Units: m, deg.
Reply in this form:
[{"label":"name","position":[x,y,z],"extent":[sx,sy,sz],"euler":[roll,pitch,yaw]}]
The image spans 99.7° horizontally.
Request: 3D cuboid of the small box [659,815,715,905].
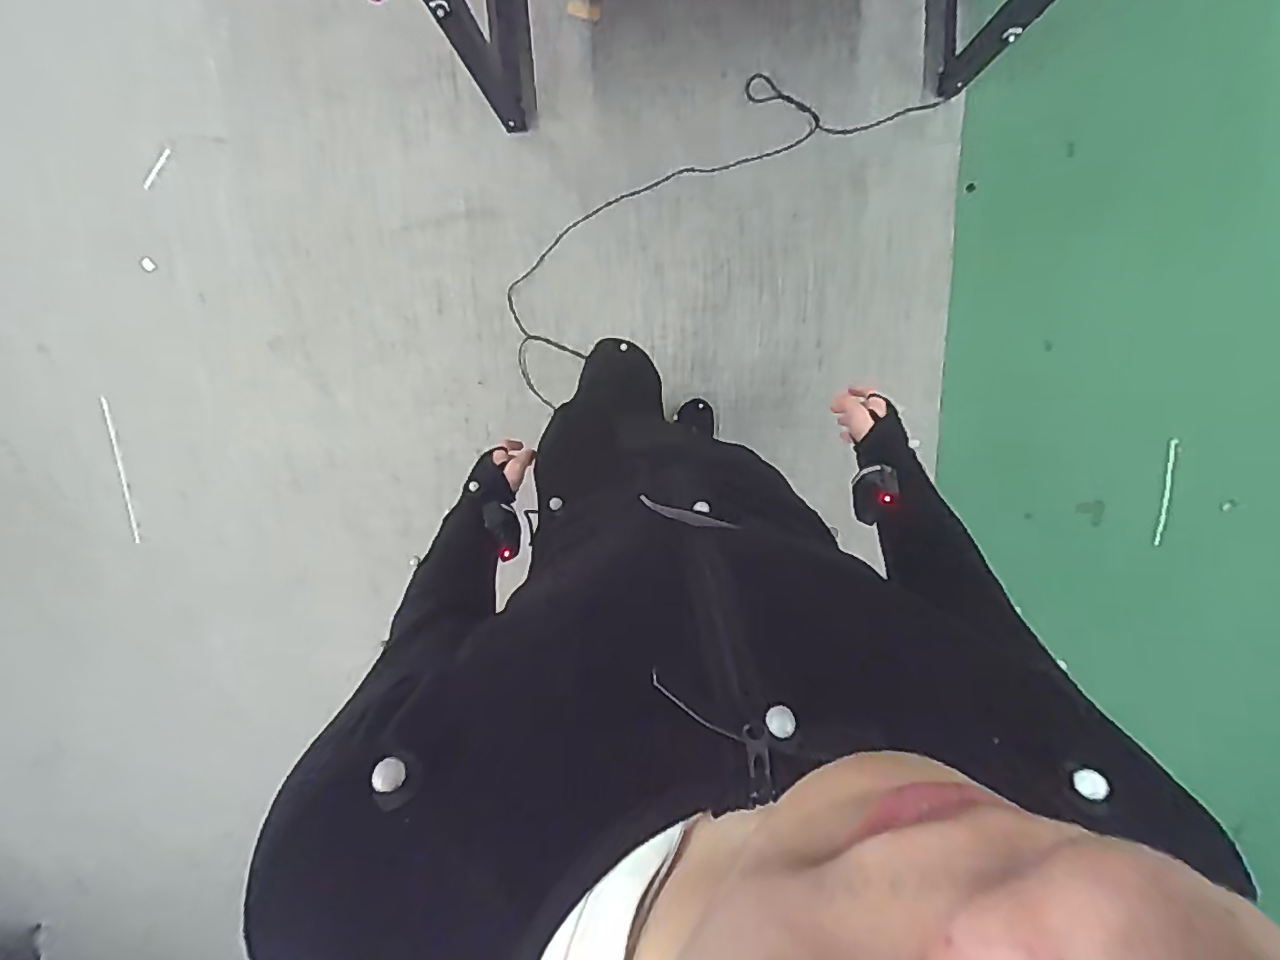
[{"label":"small box","position":[0.156,1.231,1.756],"extent":[0.168,0.176,0.179],"euler":[-7,101,4]}]
